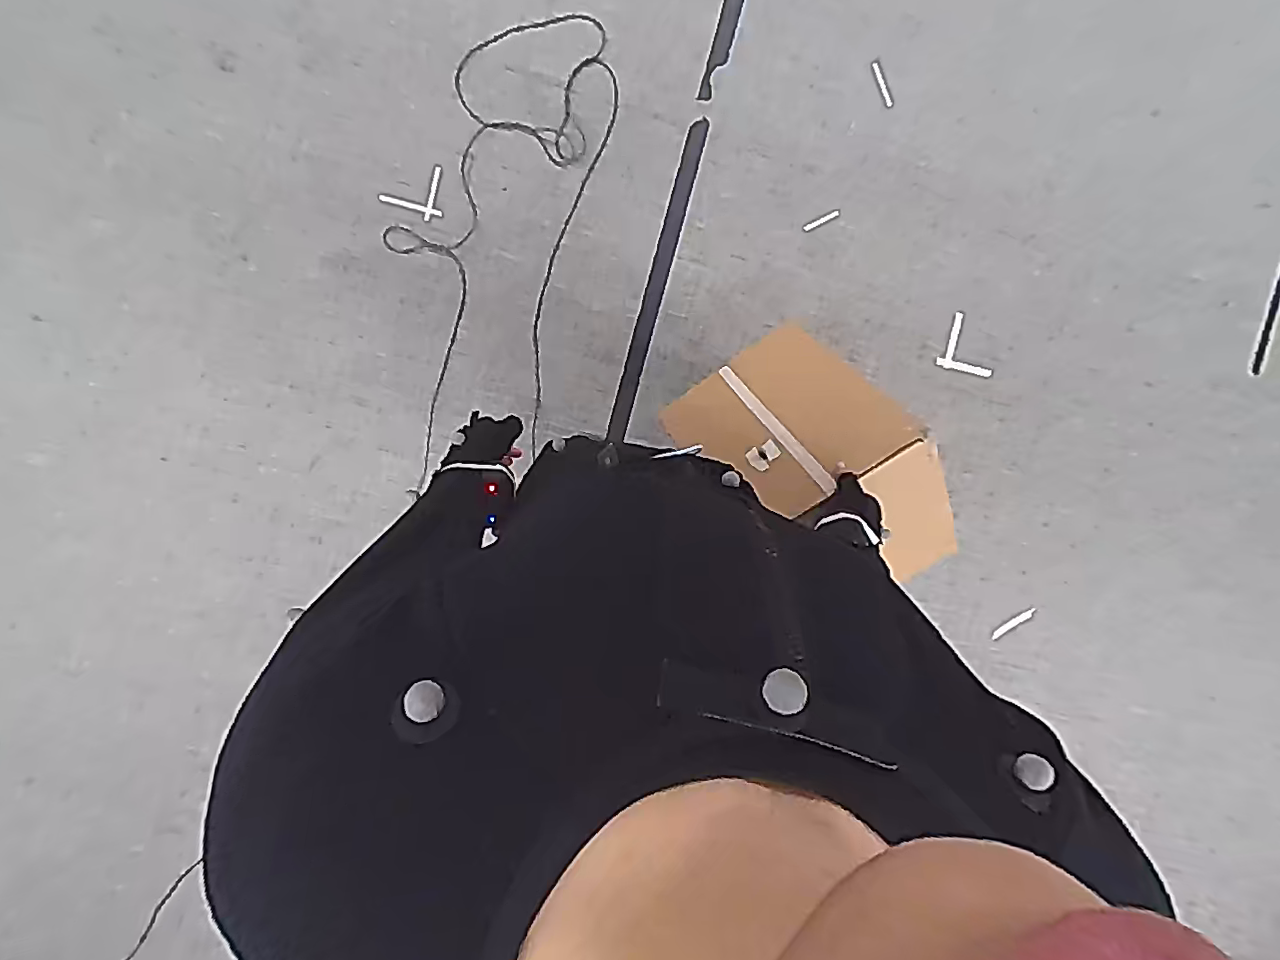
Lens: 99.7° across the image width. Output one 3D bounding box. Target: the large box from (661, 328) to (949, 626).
[{"bbox_3d":[0.296,-0.012,1.020,0.320,0.408,0.320,-35,131,8],"label":"large box"}]
